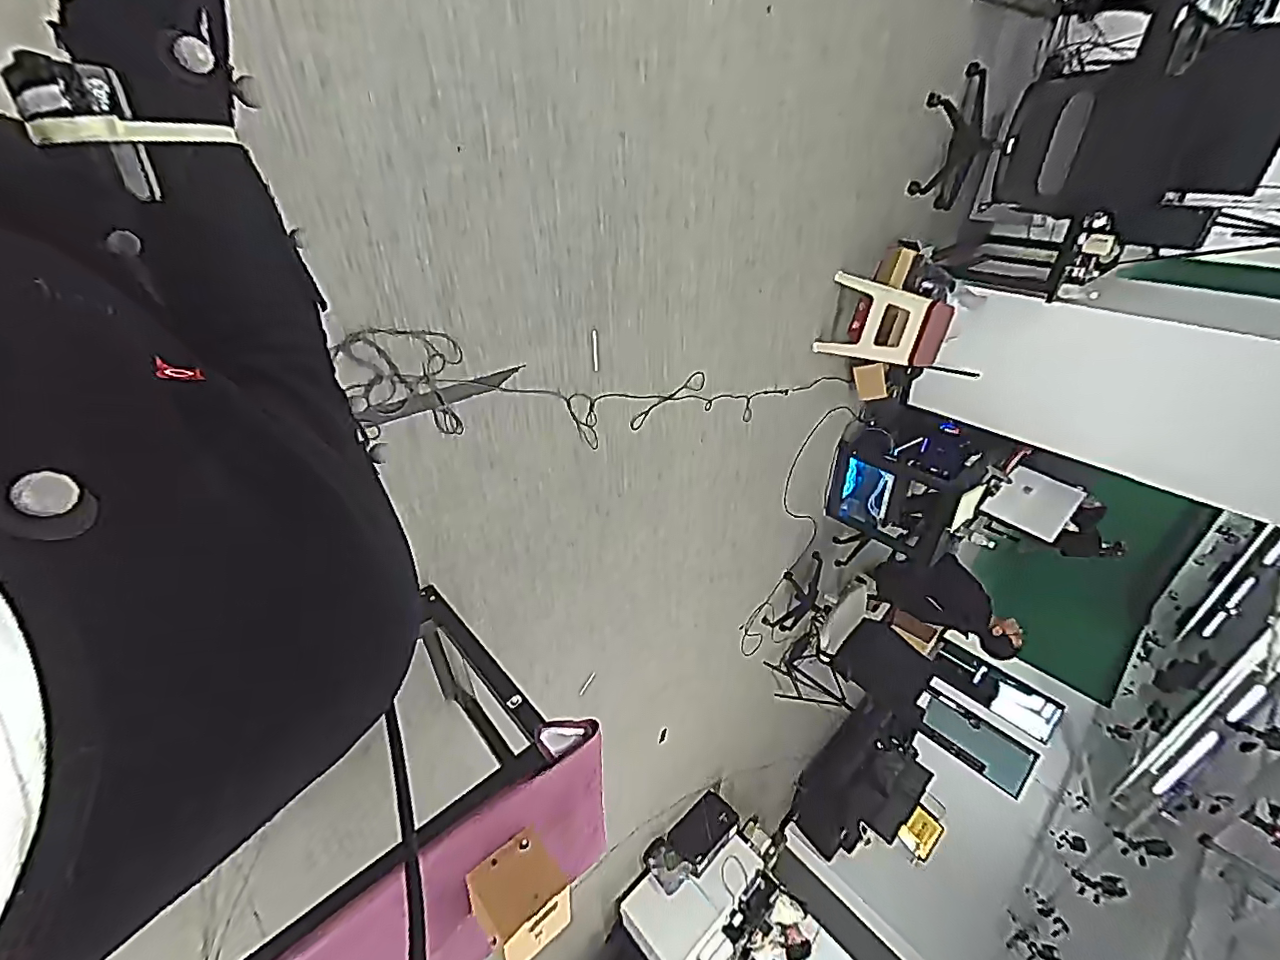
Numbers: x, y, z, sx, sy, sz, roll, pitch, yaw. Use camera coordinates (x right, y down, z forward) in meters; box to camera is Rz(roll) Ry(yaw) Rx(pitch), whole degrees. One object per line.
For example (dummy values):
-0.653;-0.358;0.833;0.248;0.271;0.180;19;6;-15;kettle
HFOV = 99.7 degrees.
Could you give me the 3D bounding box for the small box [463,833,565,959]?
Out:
-0.285;0.948;1.223;0.168;0.176;0.179;-21;128;-37;small box
